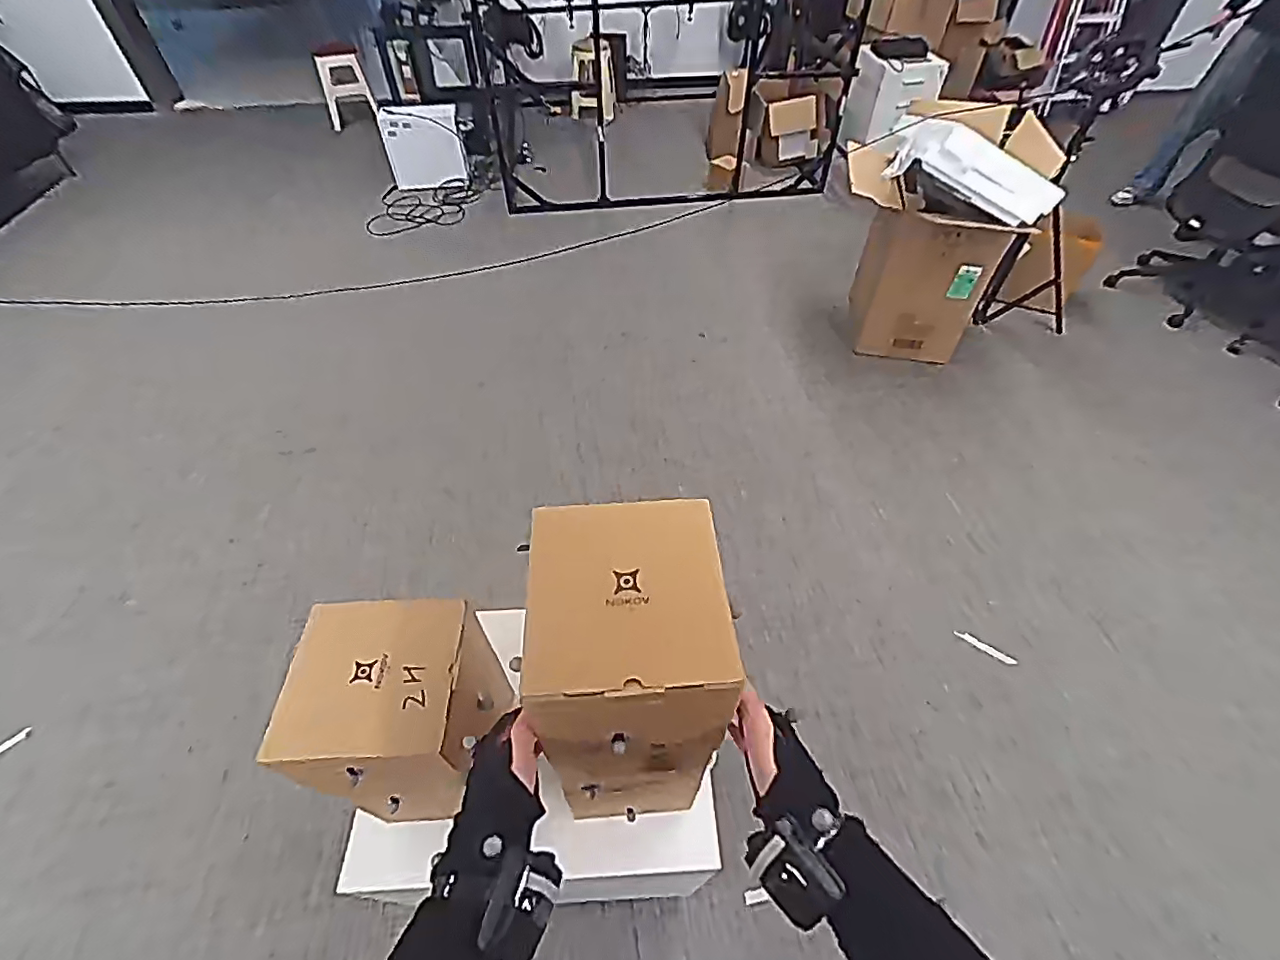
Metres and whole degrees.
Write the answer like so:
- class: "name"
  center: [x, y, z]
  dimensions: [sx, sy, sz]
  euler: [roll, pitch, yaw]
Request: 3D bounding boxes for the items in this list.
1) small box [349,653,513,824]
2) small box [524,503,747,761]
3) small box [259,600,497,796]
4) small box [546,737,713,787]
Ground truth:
- class: "small box"
  center: [-0.277, 0.357, 0.749]
  dimensions: [0.168, 0.176, 0.179]
  euler: [-2, 49, -1]
- class: "small box"
  center: [-0.010, 0.142, 0.505]
  dimensions: [0.168, 0.176, 0.179]
  euler: [-3, 51, -4]
- class: "small box"
  center: [-0.276, 0.253, 0.621]
  dimensions: [0.179, 0.176, 0.168]
  euler: [-2, 51, -2]
- class: "small box"
  center: [-0.013, 0.245, 0.630]
  dimensions: [0.168, 0.176, 0.179]
  euler: [-3, 50, -3]
